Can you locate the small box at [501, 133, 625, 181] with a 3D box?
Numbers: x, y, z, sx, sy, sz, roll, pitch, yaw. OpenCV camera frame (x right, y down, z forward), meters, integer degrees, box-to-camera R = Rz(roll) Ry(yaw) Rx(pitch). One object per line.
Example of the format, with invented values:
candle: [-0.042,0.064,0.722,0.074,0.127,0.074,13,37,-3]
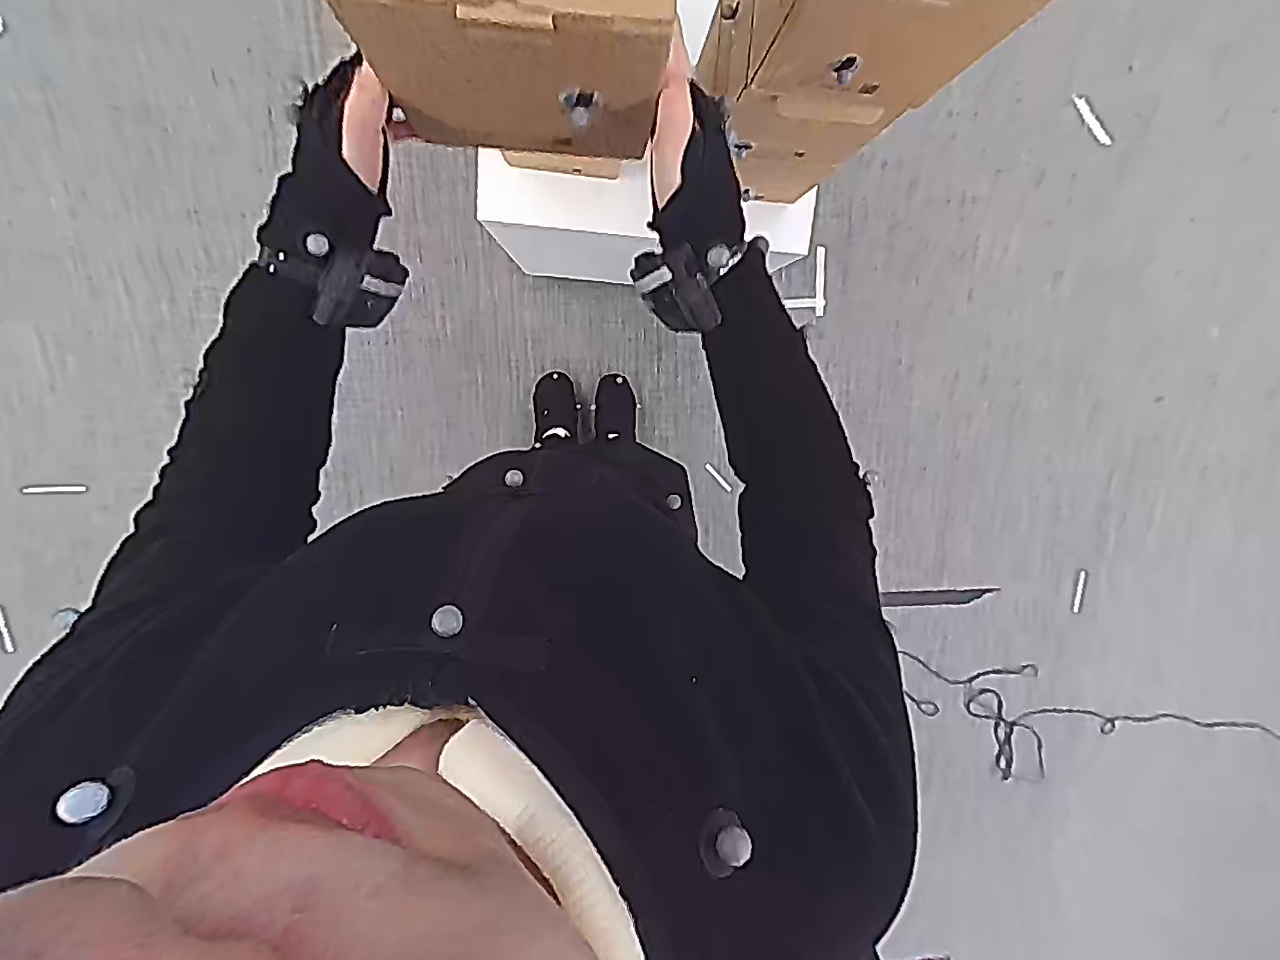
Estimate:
small box: [-0.094,-0.514,0.691,0.168,0.176,0.179,5,102,-6]

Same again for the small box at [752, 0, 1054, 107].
small box: [0.190,-0.416,0.399,0.168,0.176,0.179,2,103,-5]

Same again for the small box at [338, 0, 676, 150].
small box: [-0.065,-0.321,0.315,0.168,0.176,0.179,2,100,-7]

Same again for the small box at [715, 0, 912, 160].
small box: [0.177,-0.455,0.556,0.168,0.176,0.179,2,102,-5]
